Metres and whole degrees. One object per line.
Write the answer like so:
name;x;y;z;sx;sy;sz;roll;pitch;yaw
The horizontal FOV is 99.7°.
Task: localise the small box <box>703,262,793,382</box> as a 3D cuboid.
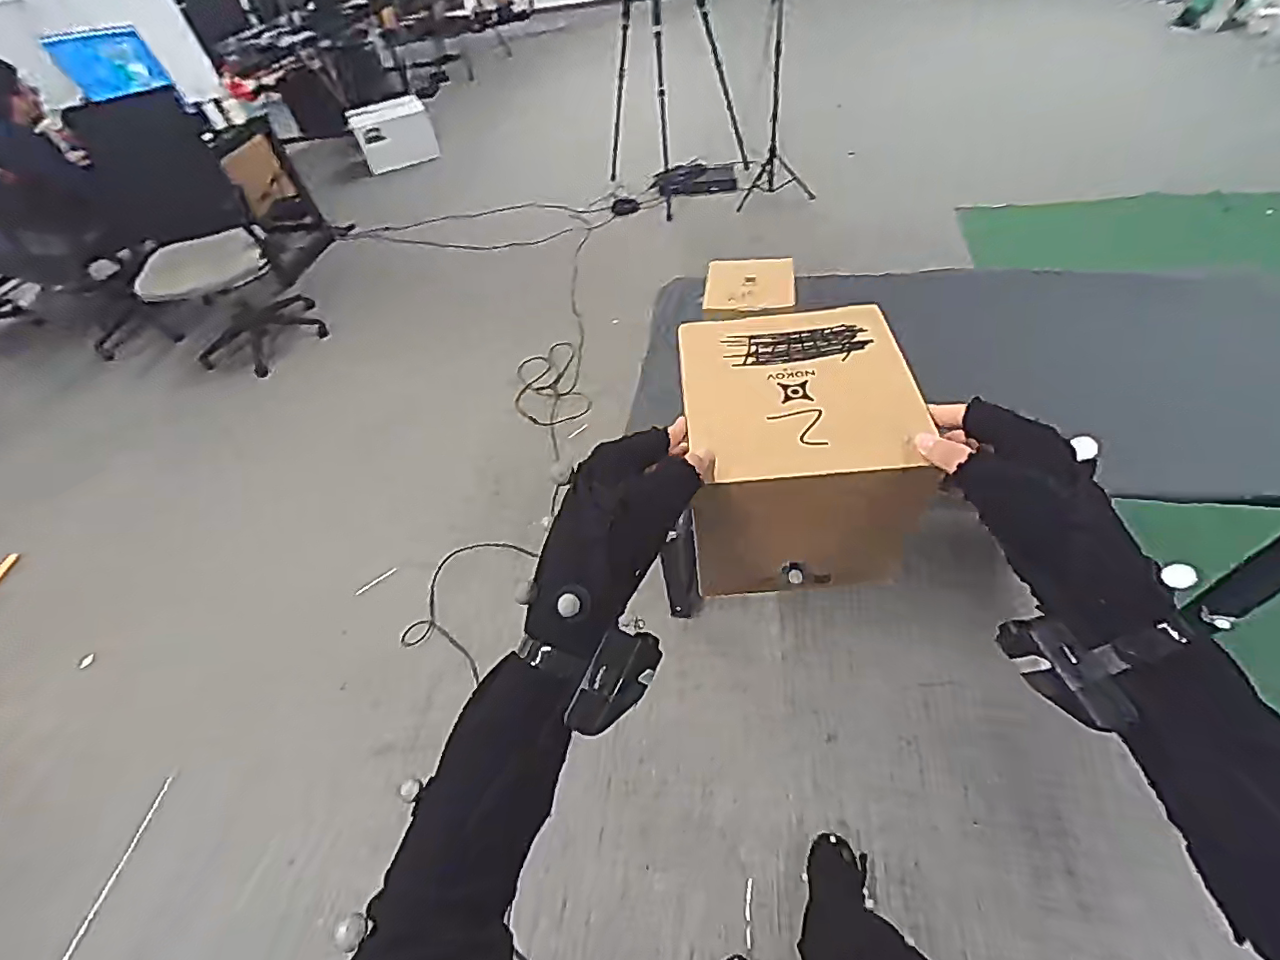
small box;0.219;-0.320;1.097;0.168;0.176;0.179;2;50;12
